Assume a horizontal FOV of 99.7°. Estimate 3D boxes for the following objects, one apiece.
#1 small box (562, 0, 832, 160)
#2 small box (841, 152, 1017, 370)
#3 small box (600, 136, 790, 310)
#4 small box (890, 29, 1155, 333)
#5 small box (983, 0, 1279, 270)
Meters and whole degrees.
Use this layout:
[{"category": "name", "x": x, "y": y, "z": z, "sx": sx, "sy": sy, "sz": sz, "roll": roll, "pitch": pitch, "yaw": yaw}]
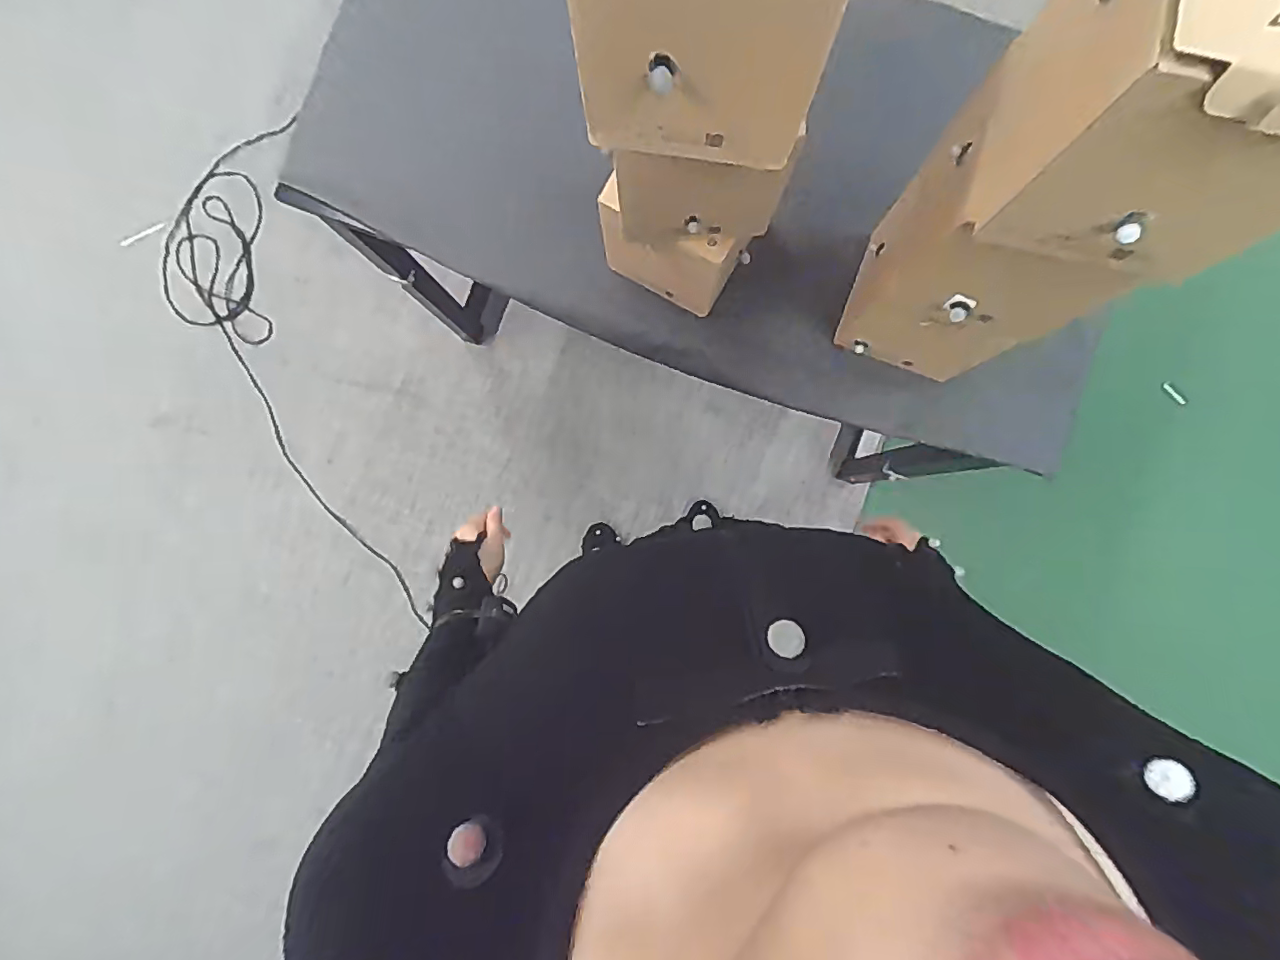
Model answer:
[{"category": "small box", "x": 0.047, "y": -0.360, "z": 0.375, "sx": 0.168, "sy": 0.176, "sz": 0.179, "roll": 8, "pitch": 87, "yaw": 2}, {"category": "small box", "x": 0.377, "y": -0.261, "z": 0.688, "sx": 0.168, "sy": 0.176, "sz": 0.179, "roll": 21, "pitch": 85, "yaw": 3}, {"category": "small box", "x": 0.063, "y": -0.357, "z": 0.703, "sx": 0.168, "sy": 0.176, "sz": 0.179, "roll": 29, "pitch": 87, "yaw": 3}, {"category": "small box", "x": 0.371, "y": -0.270, "z": 0.526, "sx": 0.168, "sy": 0.176, "sz": 0.179, "roll": 17, "pitch": 87, "yaw": 4}, {"category": "small box", "x": 0.366, "y": -0.274, "z": 0.360, "sx": 0.168, "sy": 0.176, "sz": 0.179, "roll": 14, "pitch": 86, "yaw": 4}]
